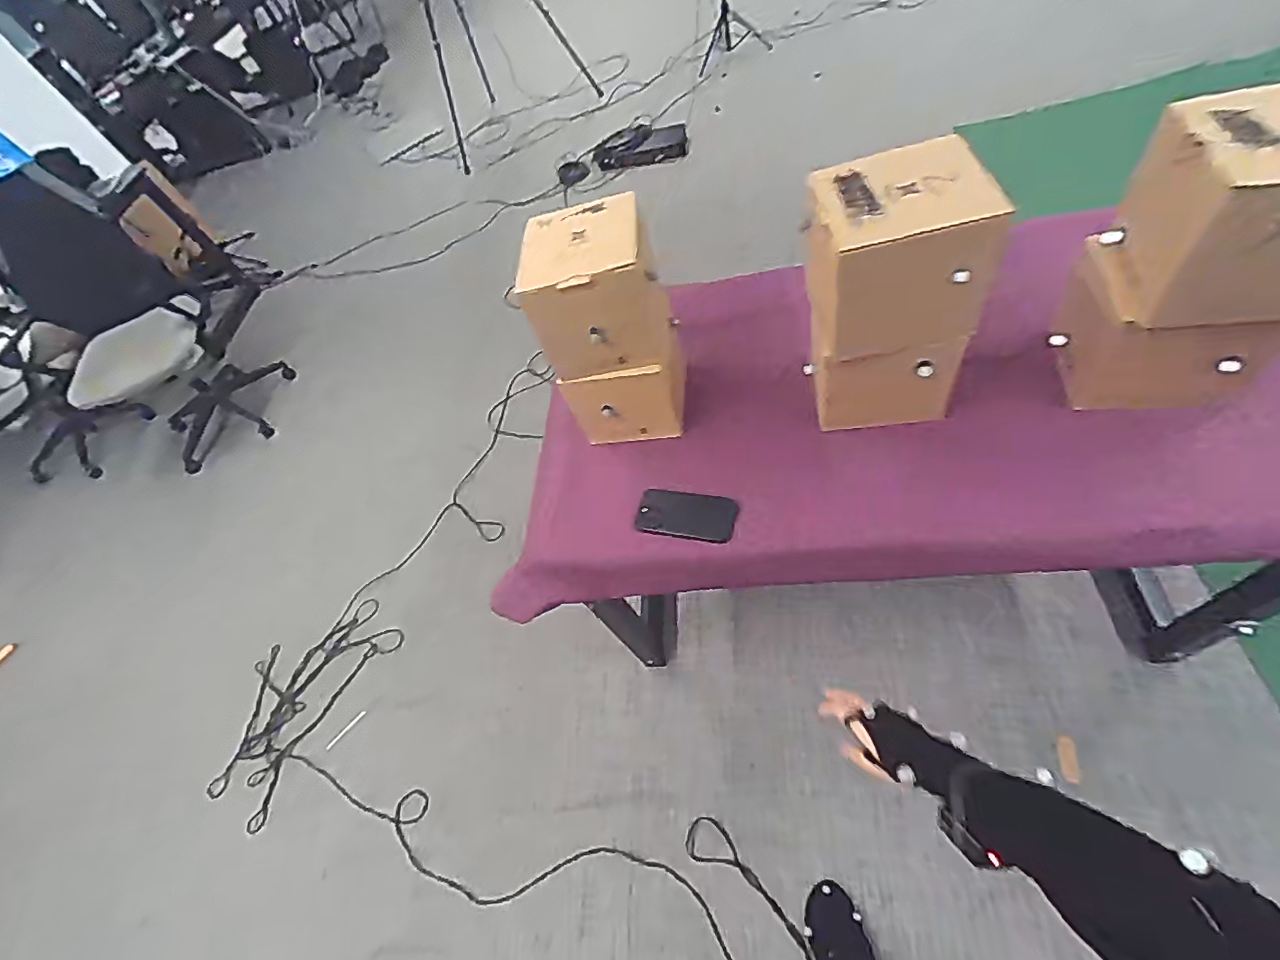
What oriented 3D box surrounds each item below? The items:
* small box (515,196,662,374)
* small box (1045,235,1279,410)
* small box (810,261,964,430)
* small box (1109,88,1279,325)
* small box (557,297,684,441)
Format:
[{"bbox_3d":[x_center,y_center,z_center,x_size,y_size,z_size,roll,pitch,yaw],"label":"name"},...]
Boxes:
[{"bbox_3d":[-0.065,-0.273,0.794,0.168,0.176,0.179,-8,56,12],"label":"small box"},{"bbox_3d":[0.678,-0.206,0.714,0.179,0.176,0.168,1,57,19],"label":"small box"},{"bbox_3d":[0.352,-0.192,0.808,0.179,0.176,0.168,-5,56,15],"label":"small box"},{"bbox_3d":[0.643,-0.282,0.572,0.179,0.176,0.168,1,57,18],"label":"small box"},{"bbox_3d":[-0.022,-0.178,0.921,0.168,0.176,0.179,-4,56,15],"label":"small box"}]
